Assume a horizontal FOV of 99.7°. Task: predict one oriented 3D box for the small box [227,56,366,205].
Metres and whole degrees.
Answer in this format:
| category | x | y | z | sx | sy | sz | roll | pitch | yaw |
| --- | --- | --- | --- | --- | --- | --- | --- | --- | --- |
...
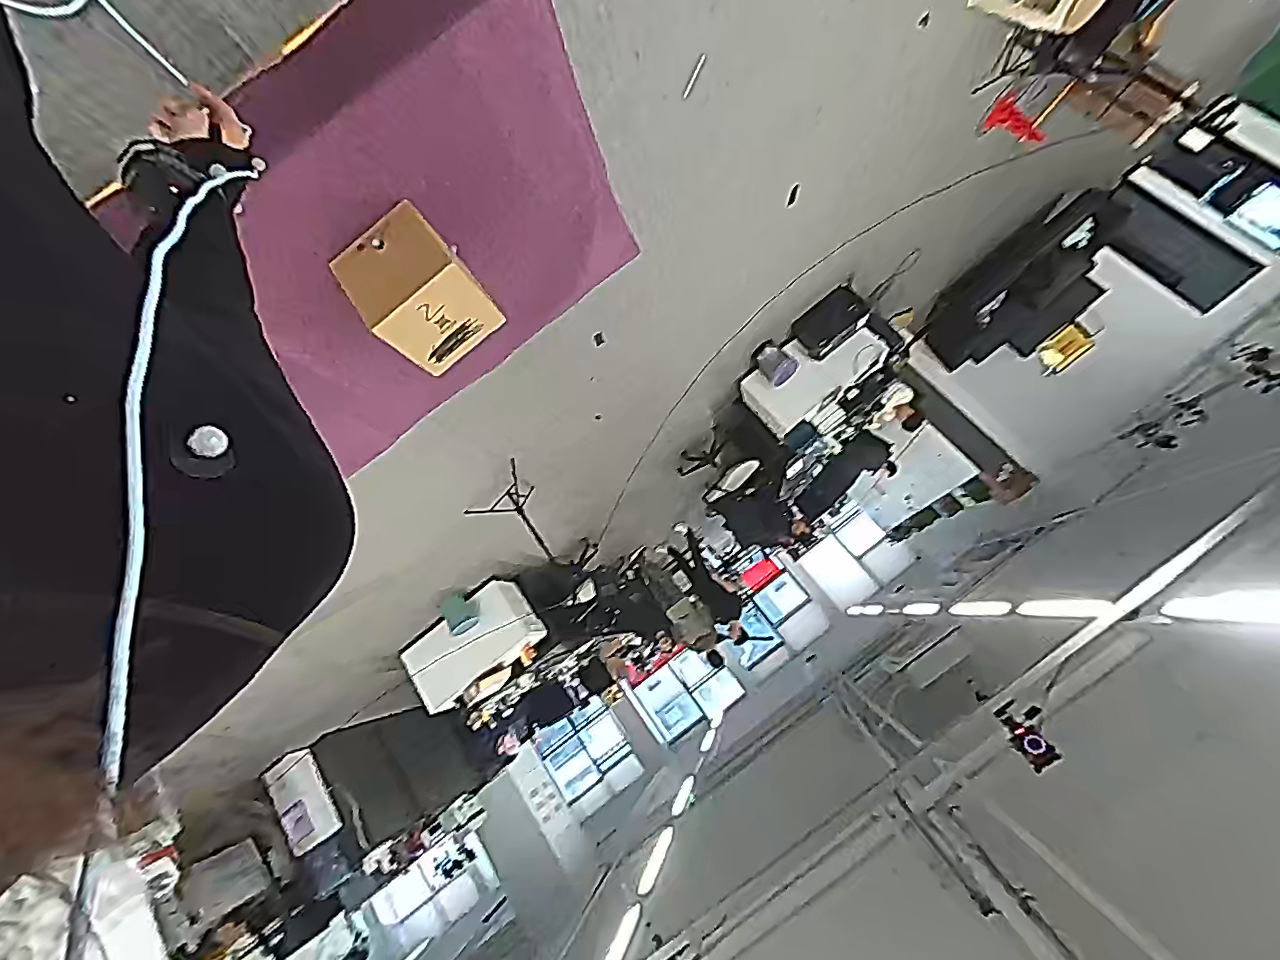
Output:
| category | x | y | z | sx | sy | sz | roll | pitch | yaw |
| --- | --- | --- | --- | --- | --- | --- | --- | --- | --- |
| small box | -0.741 | -0.747 | 1.162 | 0.179 | 0.176 | 0.168 | -39 | 162 | 2 |
